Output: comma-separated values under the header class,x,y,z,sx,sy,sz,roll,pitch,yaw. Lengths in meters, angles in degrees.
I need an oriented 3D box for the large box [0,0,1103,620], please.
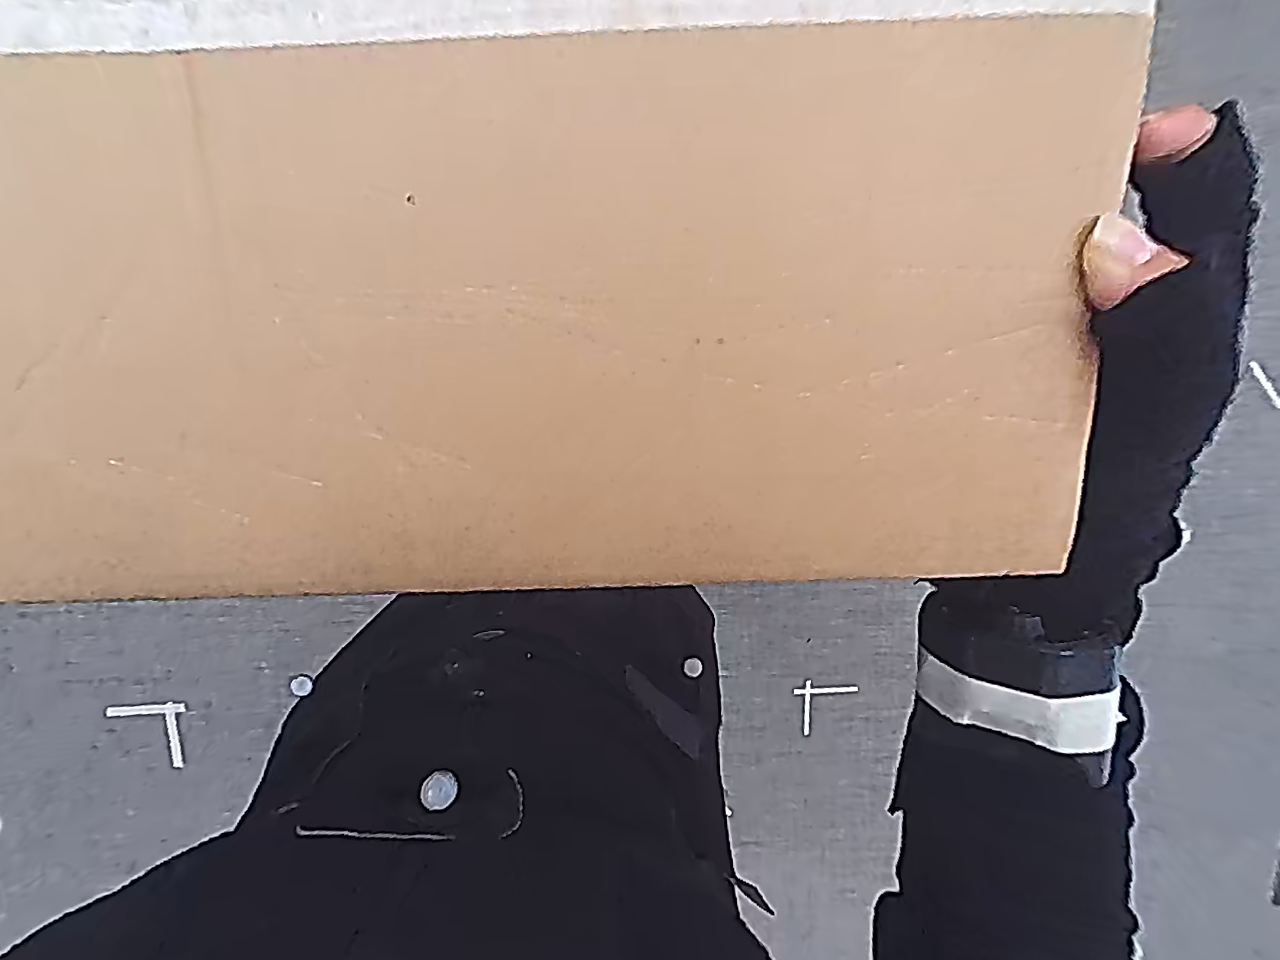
class,x,y,z,sx,sy,sz,roll,pitch,yaw
large box,-0.077,-0.142,0.289,0.408,0.320,0.320,-1,102,0
